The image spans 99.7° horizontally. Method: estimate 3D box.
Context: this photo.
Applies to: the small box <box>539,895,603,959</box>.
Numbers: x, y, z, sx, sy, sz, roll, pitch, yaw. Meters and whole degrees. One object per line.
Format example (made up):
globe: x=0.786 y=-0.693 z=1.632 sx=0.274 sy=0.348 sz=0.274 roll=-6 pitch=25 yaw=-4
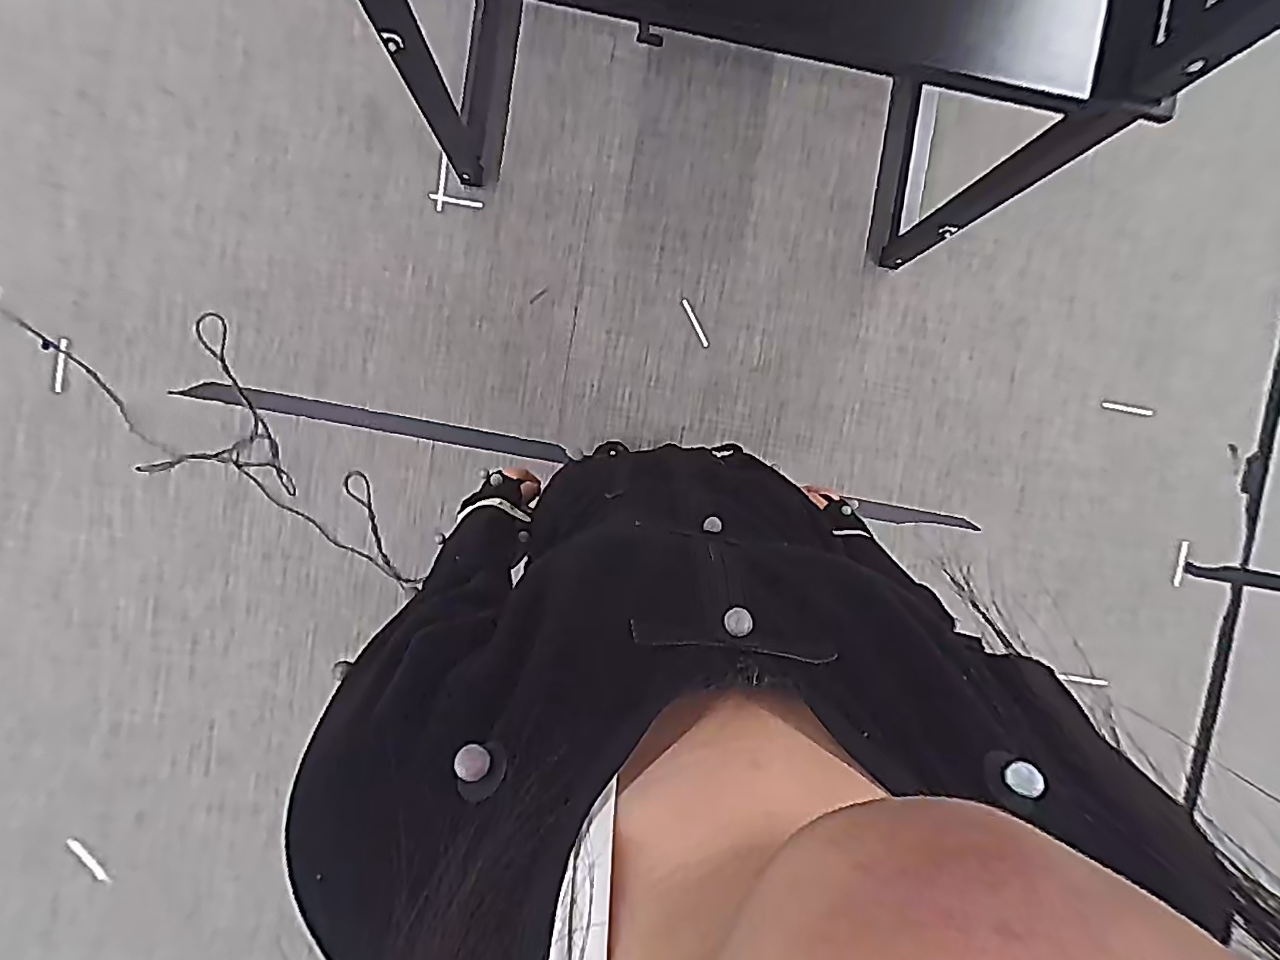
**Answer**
small box: x=-0.184 y=1.259 z=1.458 sx=0.168 sy=0.176 sz=0.179 roll=0 pitch=93 yaw=-4
